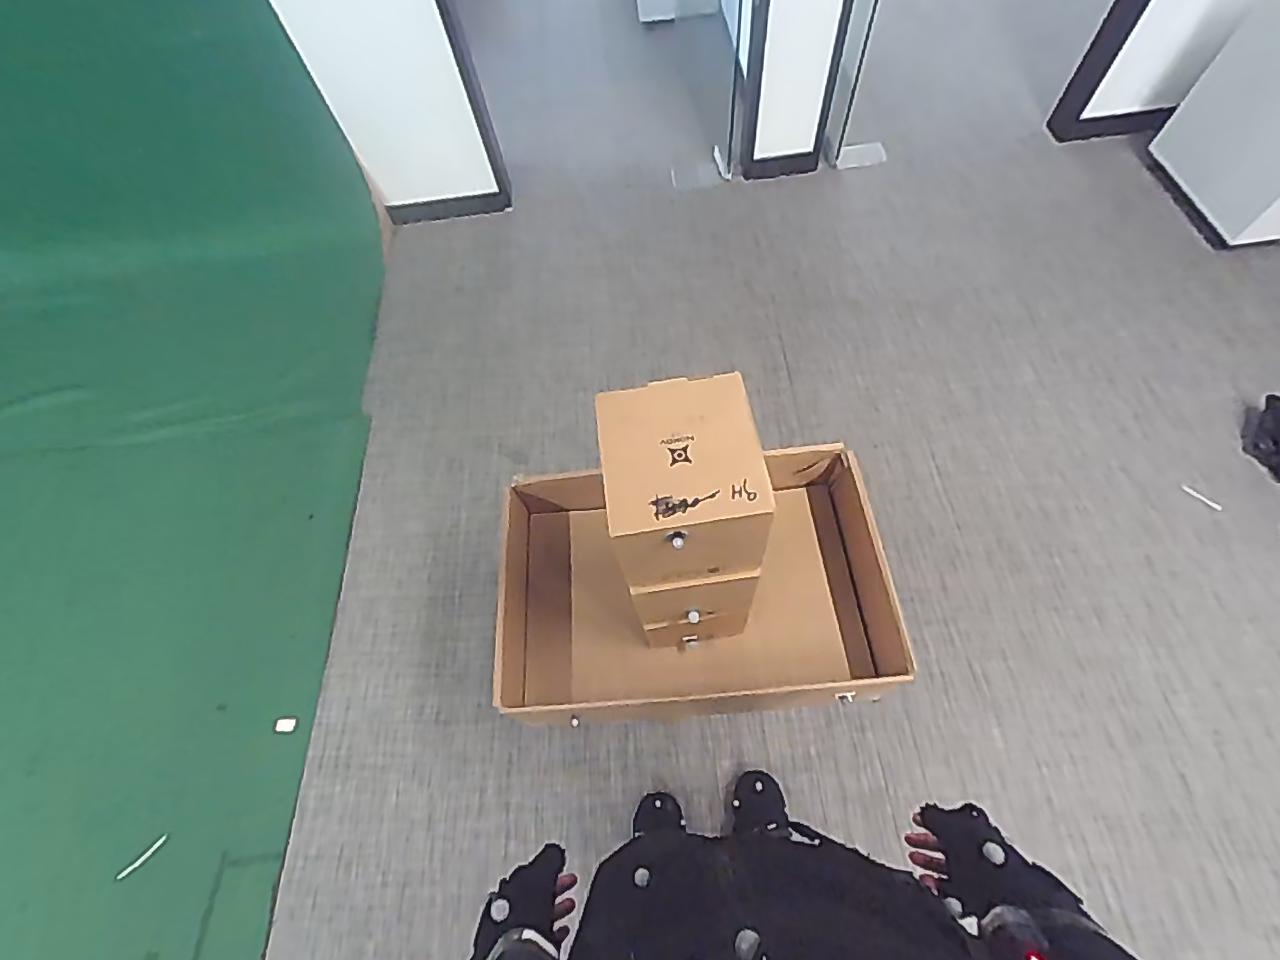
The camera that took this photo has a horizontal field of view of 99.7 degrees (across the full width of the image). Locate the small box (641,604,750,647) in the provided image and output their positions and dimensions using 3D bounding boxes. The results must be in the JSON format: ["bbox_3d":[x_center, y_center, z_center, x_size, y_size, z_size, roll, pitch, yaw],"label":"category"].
[{"bbox_3d":[0.080,0.169,0.917,0.168,0.176,0.179,-10,62,1],"label":"small box"}]

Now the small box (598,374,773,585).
[{"bbox_3d":[0.049,0.005,0.635,0.168,0.176,0.179,-9,60,3],"label":"small box"}]

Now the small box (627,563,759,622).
[{"bbox_3d":[0.066,0.090,0.774,0.168,0.176,0.179,-9,62,3],"label":"small box"}]
